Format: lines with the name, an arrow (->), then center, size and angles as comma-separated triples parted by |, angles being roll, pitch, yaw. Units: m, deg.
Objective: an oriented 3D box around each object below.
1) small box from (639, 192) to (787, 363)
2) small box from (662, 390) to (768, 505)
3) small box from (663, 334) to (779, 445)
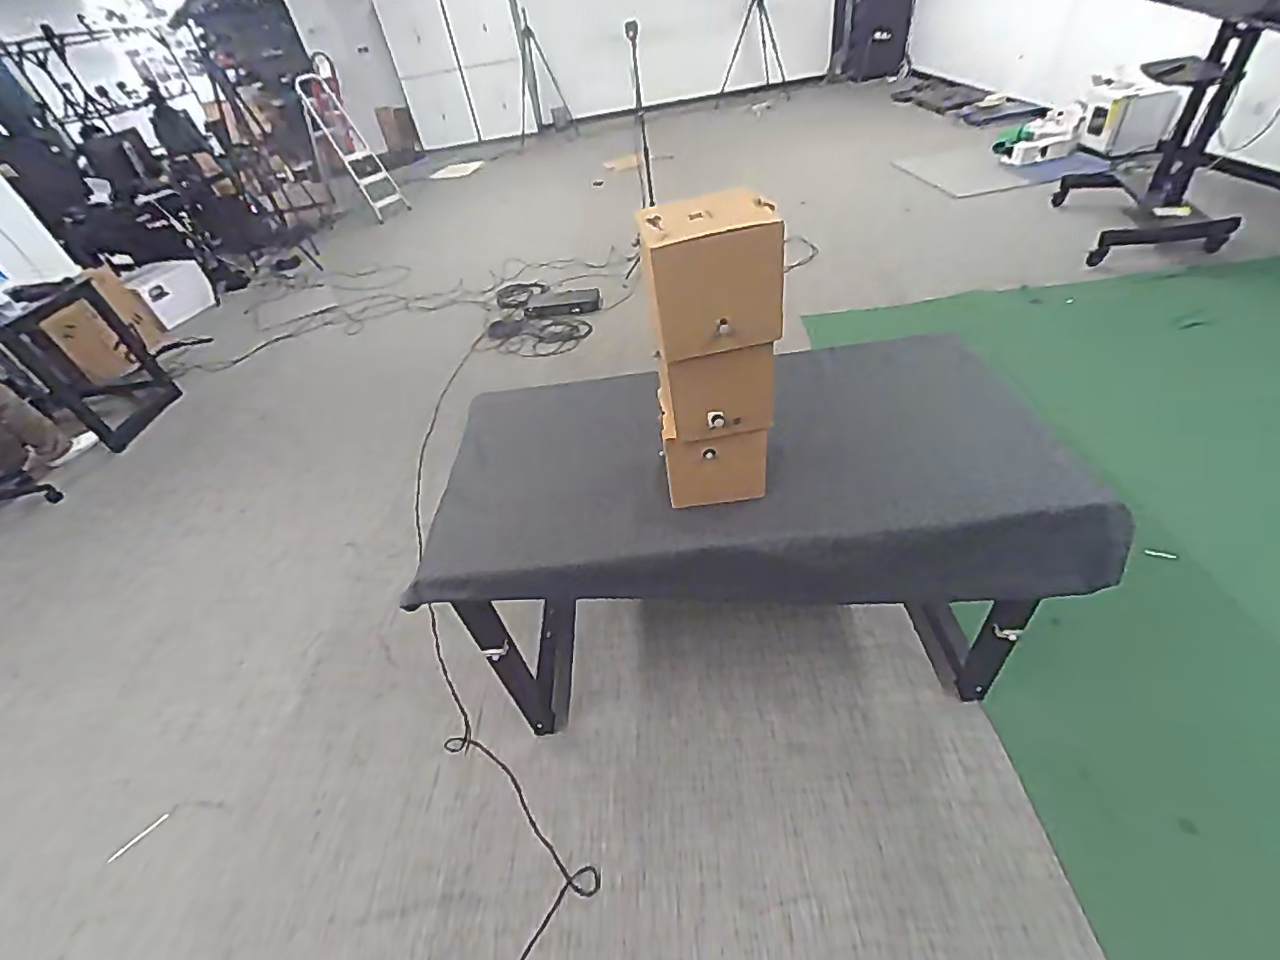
small box -> 0.102, -0.293, 0.787 | 0.179, 0.176, 0.168 | -11, 41, 1
small box -> 0.142, -0.068, 1.020 | 0.179, 0.176, 0.168 | -7, 42, 4
small box -> 0.127, -0.184, 0.908 | 0.168, 0.176, 0.179 | -12, 43, 2
